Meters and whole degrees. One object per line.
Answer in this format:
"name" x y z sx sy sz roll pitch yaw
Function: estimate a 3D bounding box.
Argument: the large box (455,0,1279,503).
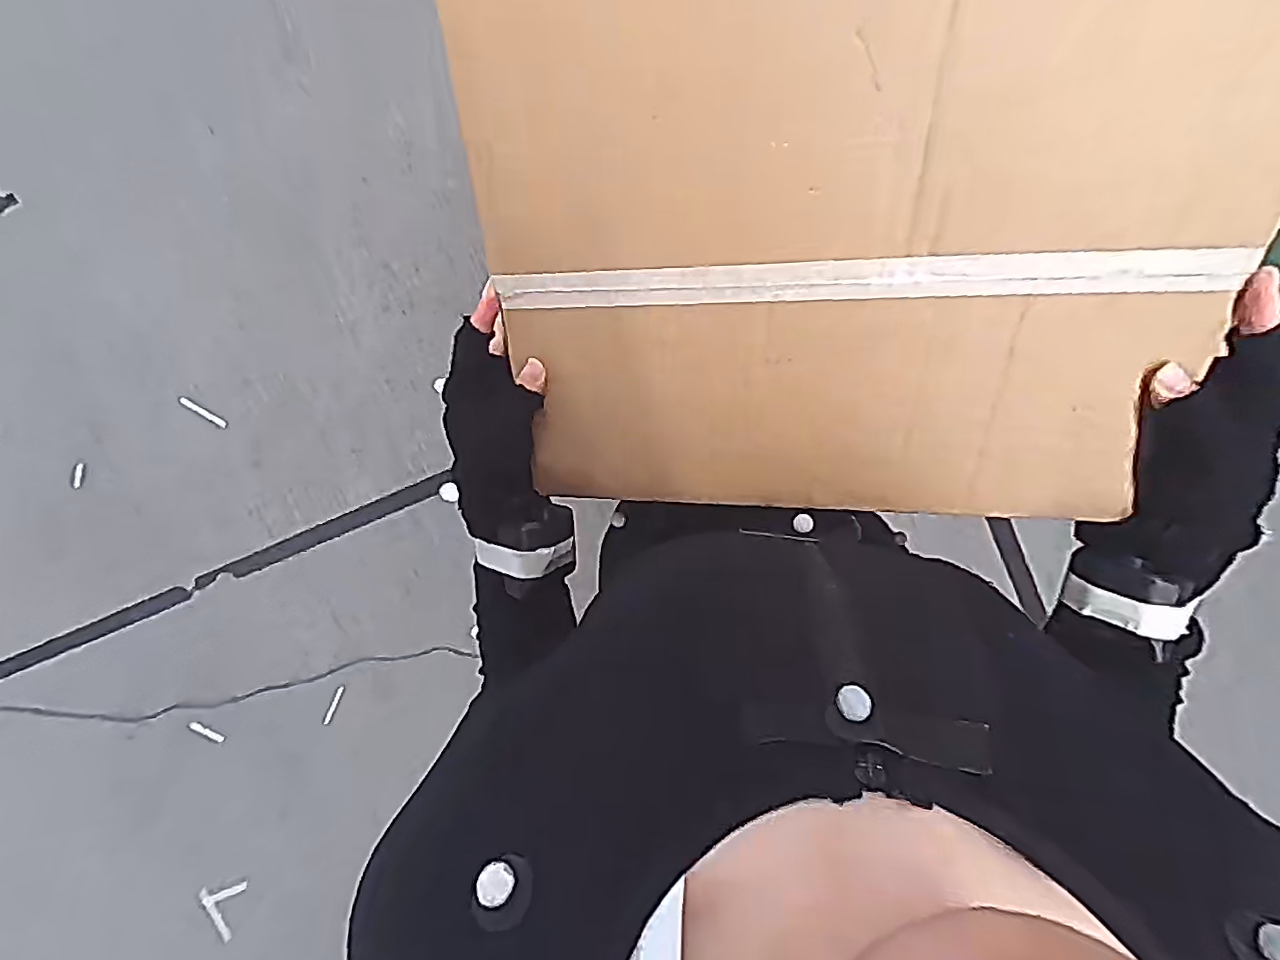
"large box" 0.132 -0.197 0.441 0.408 0.320 0.320 2 123 10
